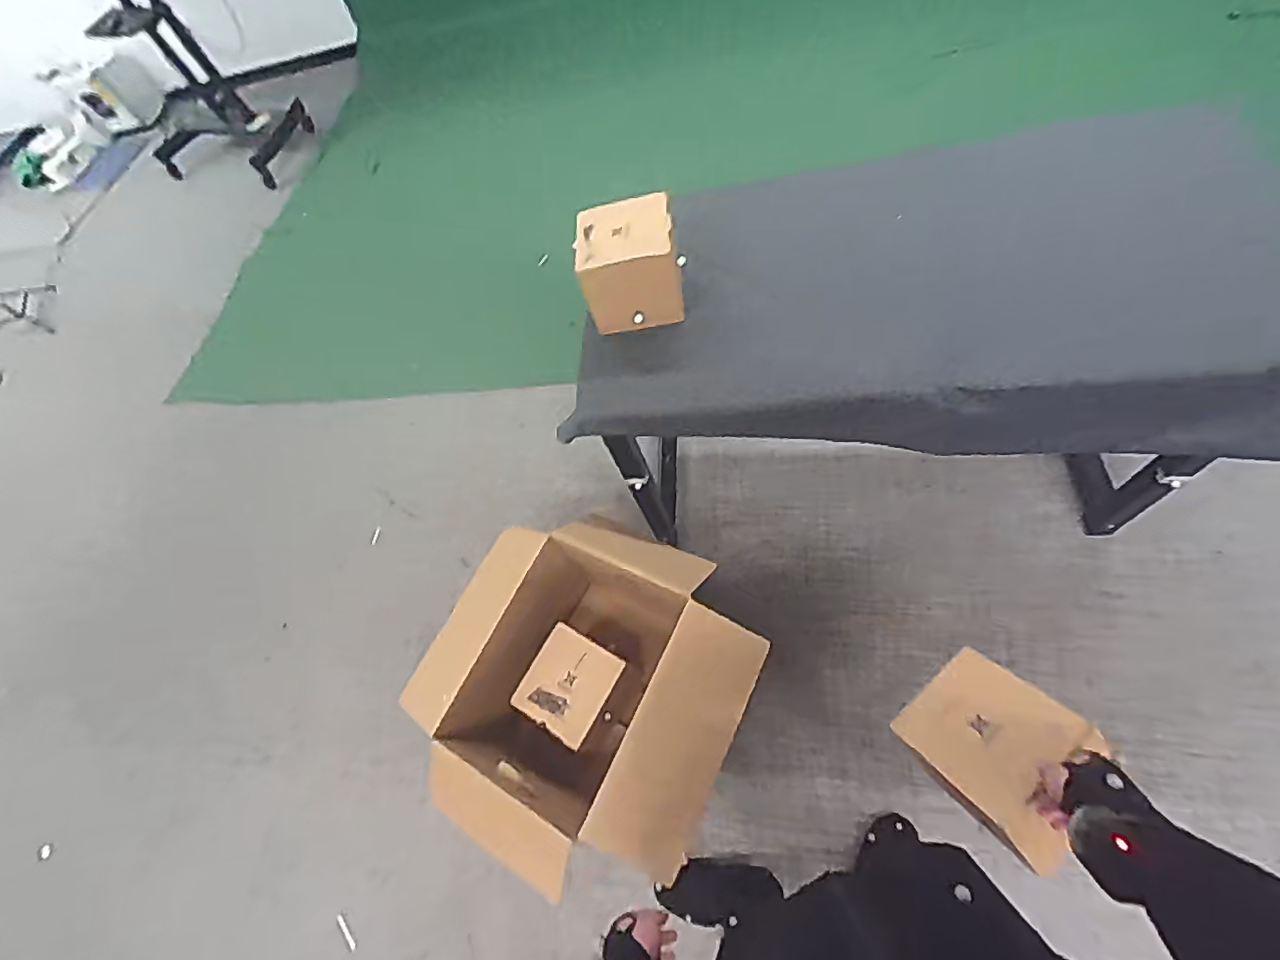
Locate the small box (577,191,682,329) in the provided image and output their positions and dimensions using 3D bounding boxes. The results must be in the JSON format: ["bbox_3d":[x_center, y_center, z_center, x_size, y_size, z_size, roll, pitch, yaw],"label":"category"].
[{"bbox_3d":[-0.014,-0.418,1.048,0.179,0.176,0.168,-6,61,9],"label":"small box"}]

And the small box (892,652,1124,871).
[{"bbox_3d":[0.488,0.375,0.722,0.168,0.176,0.179,-43,23,-6],"label":"small box"}]
